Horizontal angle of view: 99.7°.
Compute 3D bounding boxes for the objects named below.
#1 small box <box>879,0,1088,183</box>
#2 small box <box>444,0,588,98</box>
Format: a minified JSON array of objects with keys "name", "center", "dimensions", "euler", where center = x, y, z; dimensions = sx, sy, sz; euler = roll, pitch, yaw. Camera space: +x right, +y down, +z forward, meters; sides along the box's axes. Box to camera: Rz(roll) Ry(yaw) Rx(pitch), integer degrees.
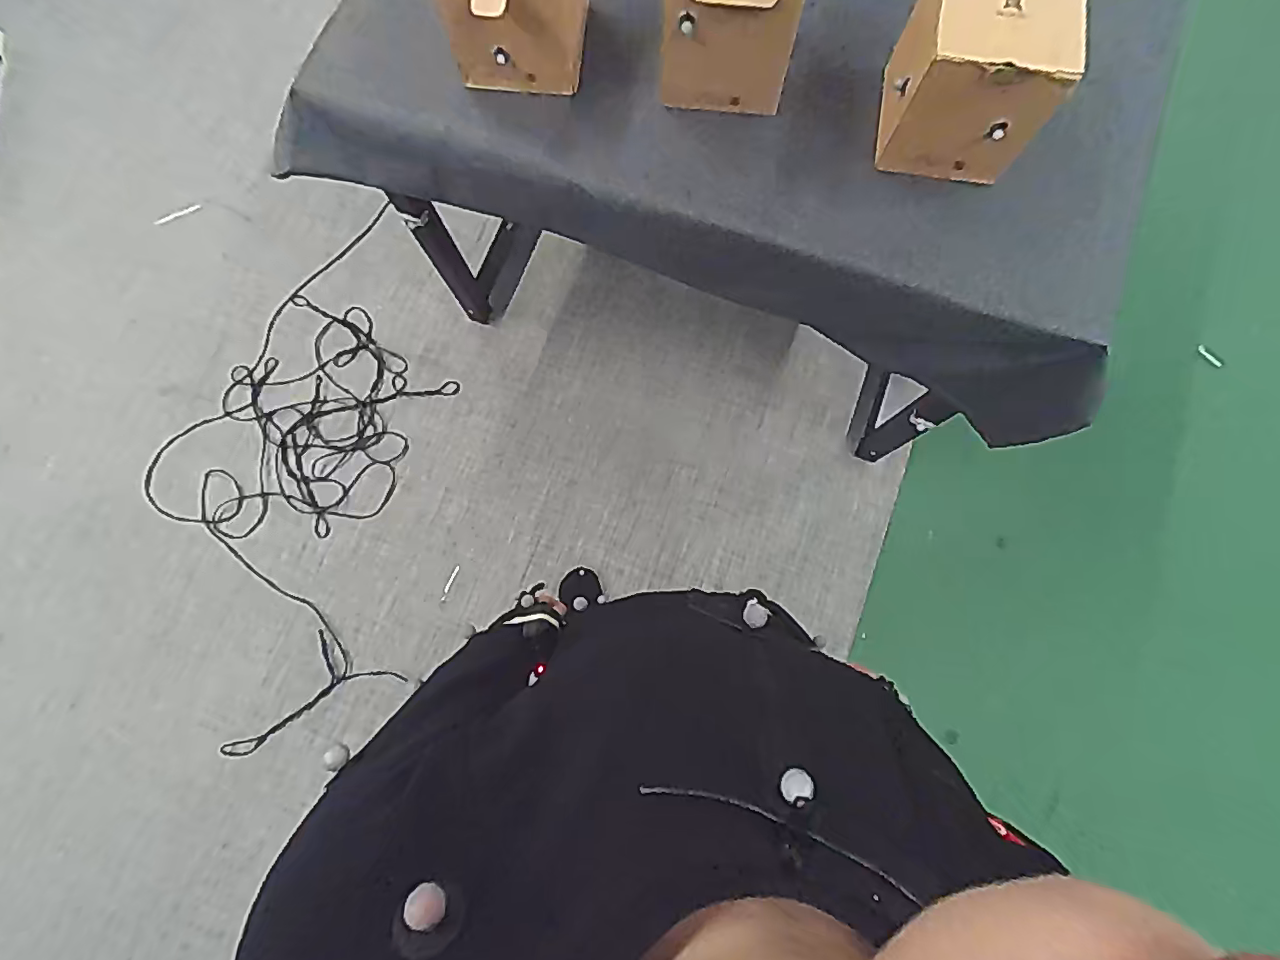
[{"name":"small box","center":[0.424,-0.519,0.692],"dimensions":[0.168,0.176,0.179],"euler":[10,77,2]},{"name":"small box","center":[-0.165,-0.670,0.734],"dimensions":[0.168,0.176,0.179],"euler":[5,79,2]}]
